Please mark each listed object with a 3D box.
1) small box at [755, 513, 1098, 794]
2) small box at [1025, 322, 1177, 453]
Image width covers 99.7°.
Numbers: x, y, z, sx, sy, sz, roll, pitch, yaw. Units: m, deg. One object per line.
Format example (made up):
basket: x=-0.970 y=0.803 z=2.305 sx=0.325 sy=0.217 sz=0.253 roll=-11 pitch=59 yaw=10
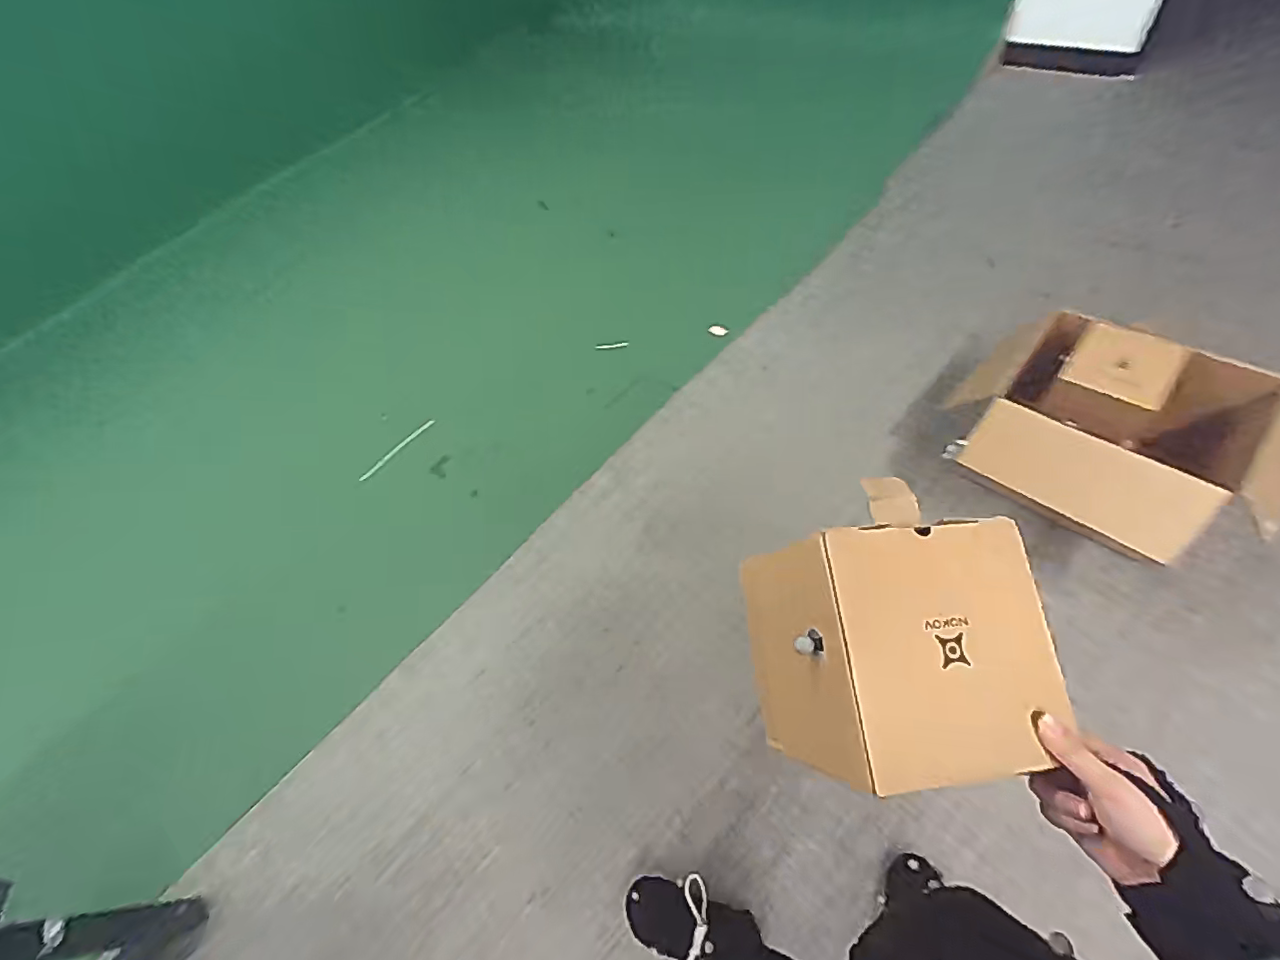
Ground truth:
small box: x=0.210 y=0.134 z=0.450 sx=0.168 sy=0.176 sz=0.179 roll=-3 pitch=73 yaw=-11
small box: x=0.959 y=-0.192 z=1.142 sx=0.168 sy=0.176 sz=0.179 roll=32 pitch=73 yaw=28
